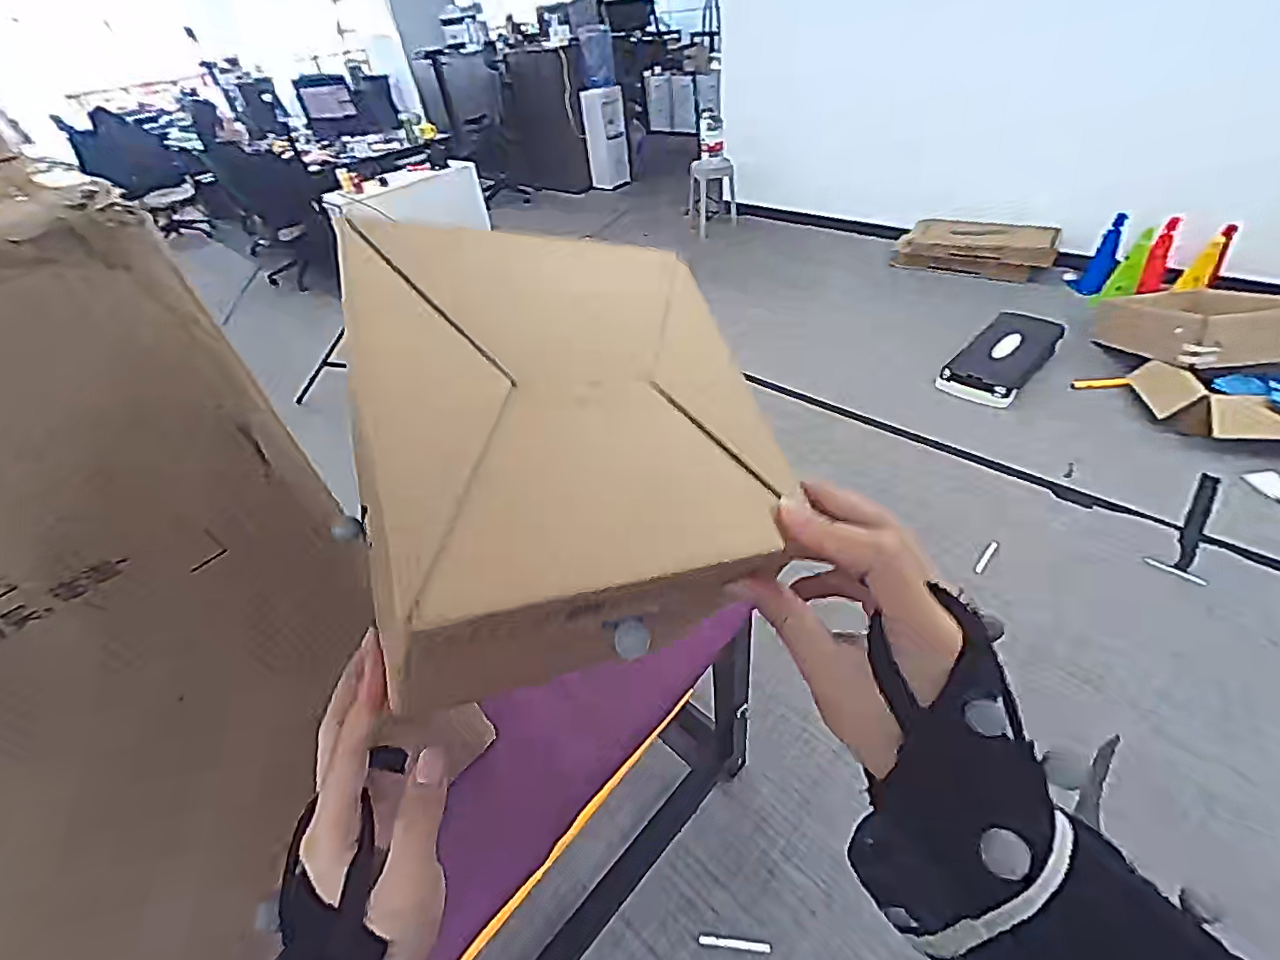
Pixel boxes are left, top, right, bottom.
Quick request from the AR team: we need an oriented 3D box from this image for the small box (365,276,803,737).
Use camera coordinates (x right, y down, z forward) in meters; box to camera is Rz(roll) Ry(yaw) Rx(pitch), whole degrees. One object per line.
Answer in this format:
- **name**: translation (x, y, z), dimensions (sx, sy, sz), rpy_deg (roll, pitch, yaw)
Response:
- **small box**: translation (-0.046, 0.010, 0.290), dimensions (0.168, 0.176, 0.179), rpy_deg (-6, 61, -29)

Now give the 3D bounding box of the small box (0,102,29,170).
- **small box**: translation (-0.534, -0.260, 0.322), dimensions (0.179, 0.176, 0.168), rpy_deg (-36, 49, -26)
